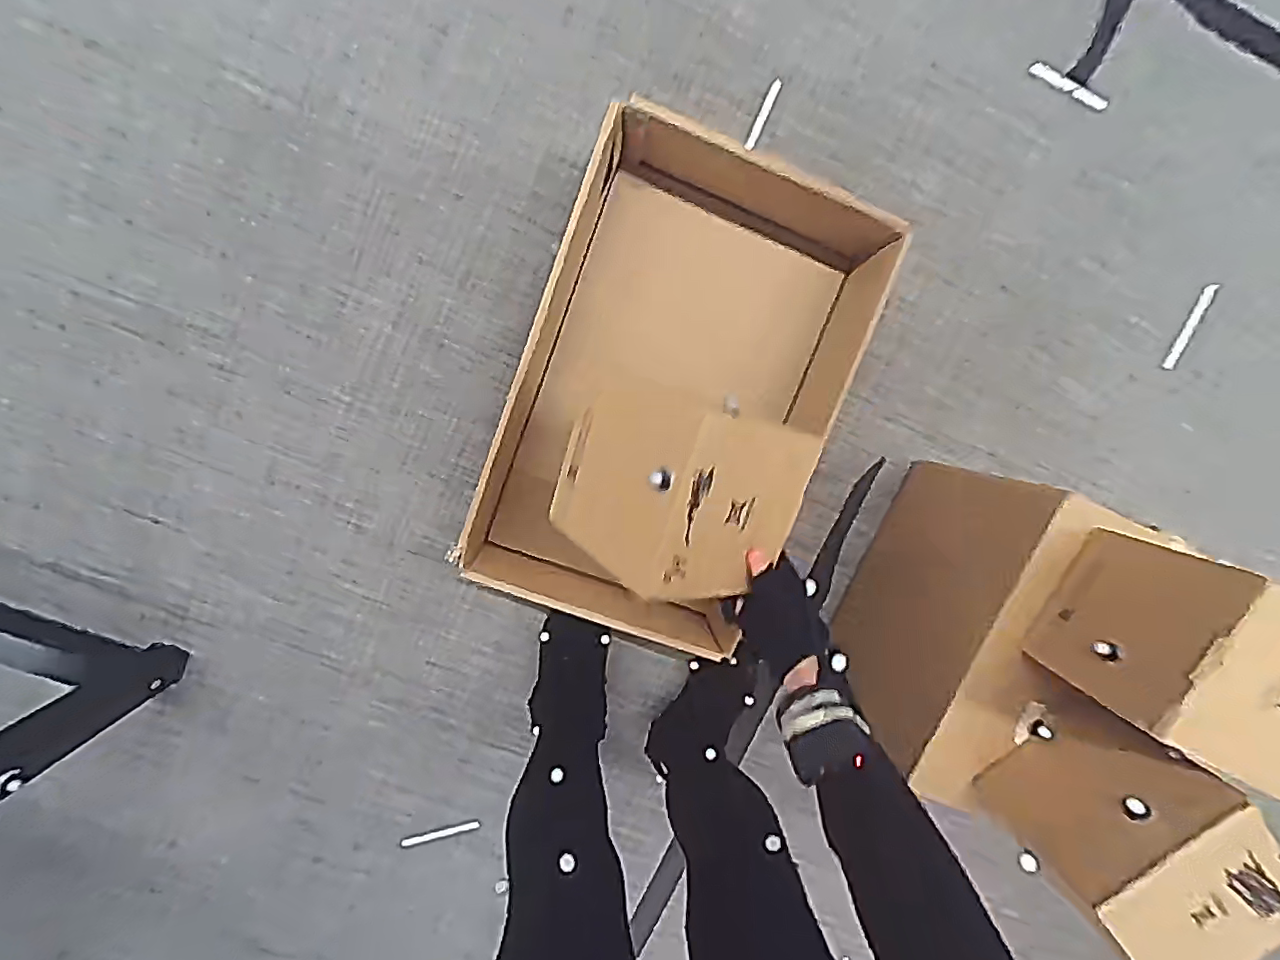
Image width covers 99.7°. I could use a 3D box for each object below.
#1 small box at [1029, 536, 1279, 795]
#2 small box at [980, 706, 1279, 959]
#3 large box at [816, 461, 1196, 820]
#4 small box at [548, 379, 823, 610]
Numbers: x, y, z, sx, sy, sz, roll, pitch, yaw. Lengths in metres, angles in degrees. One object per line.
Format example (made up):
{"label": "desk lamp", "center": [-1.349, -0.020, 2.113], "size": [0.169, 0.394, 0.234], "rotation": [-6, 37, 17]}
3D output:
{"label": "small box", "center": [0.557, 0.172, 0.549], "size": [0.179, 0.176, 0.168], "rotation": [26, 99, -8]}
{"label": "small box", "center": [0.521, 0.383, 0.577], "size": [0.179, 0.176, 0.168], "rotation": [-38, 99, 3]}
{"label": "large box", "center": [0.528, 0.224, 0.801], "size": [0.320, 0.320, 0.408], "rotation": [23, 98, -6]}
{"label": "small box", "center": [0.039, 0.008, 0.531], "size": [0.179, 0.176, 0.168], "rotation": [6, 106, -42]}
